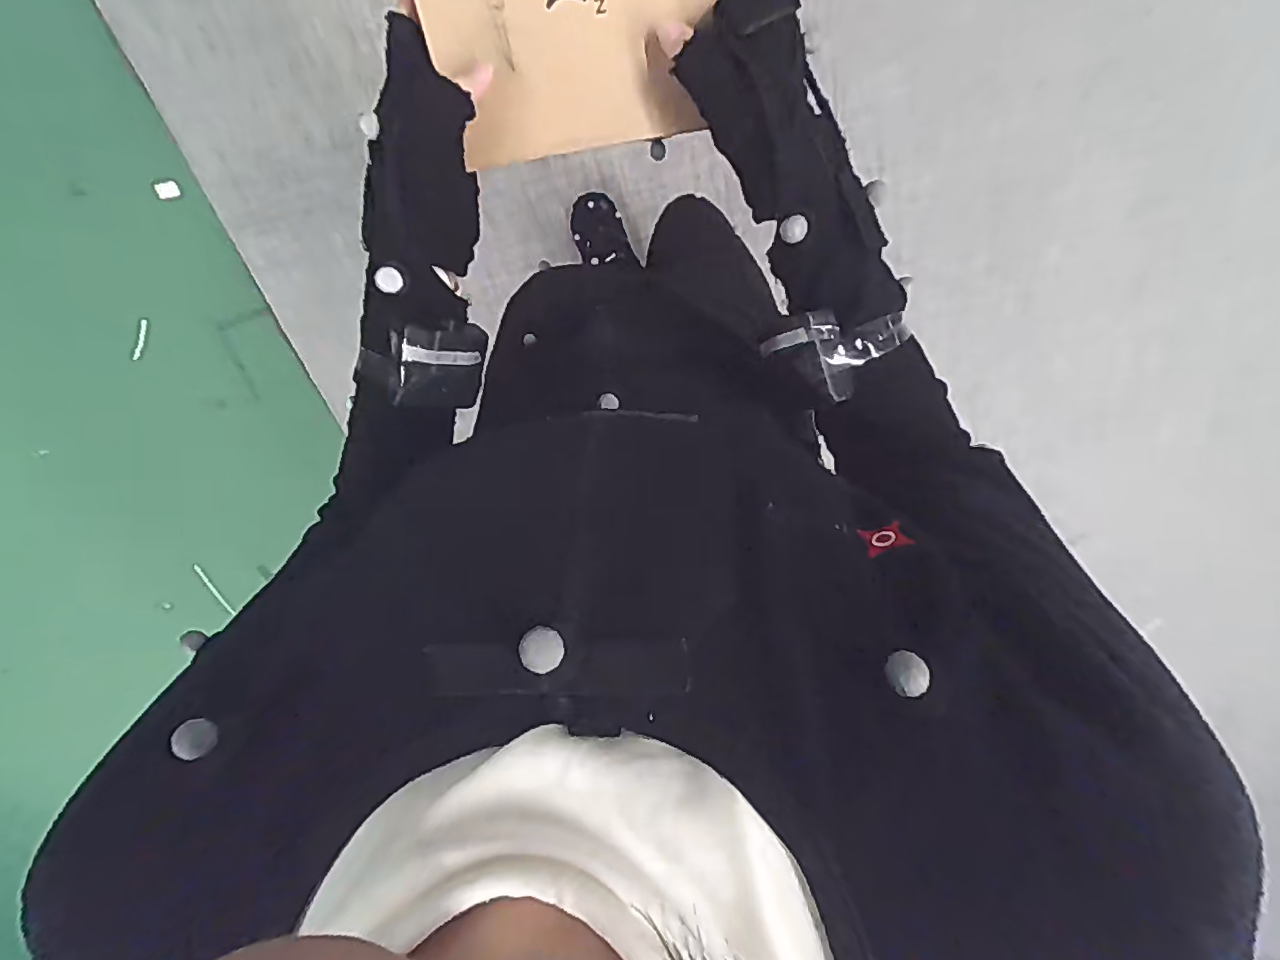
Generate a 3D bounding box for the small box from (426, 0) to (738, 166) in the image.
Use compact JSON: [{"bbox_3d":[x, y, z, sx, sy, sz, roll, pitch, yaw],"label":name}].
[{"bbox_3d":[-0.039,-0.325,0.369,0.179,0.176,0.168,-9,121,3],"label":"small box"}]
